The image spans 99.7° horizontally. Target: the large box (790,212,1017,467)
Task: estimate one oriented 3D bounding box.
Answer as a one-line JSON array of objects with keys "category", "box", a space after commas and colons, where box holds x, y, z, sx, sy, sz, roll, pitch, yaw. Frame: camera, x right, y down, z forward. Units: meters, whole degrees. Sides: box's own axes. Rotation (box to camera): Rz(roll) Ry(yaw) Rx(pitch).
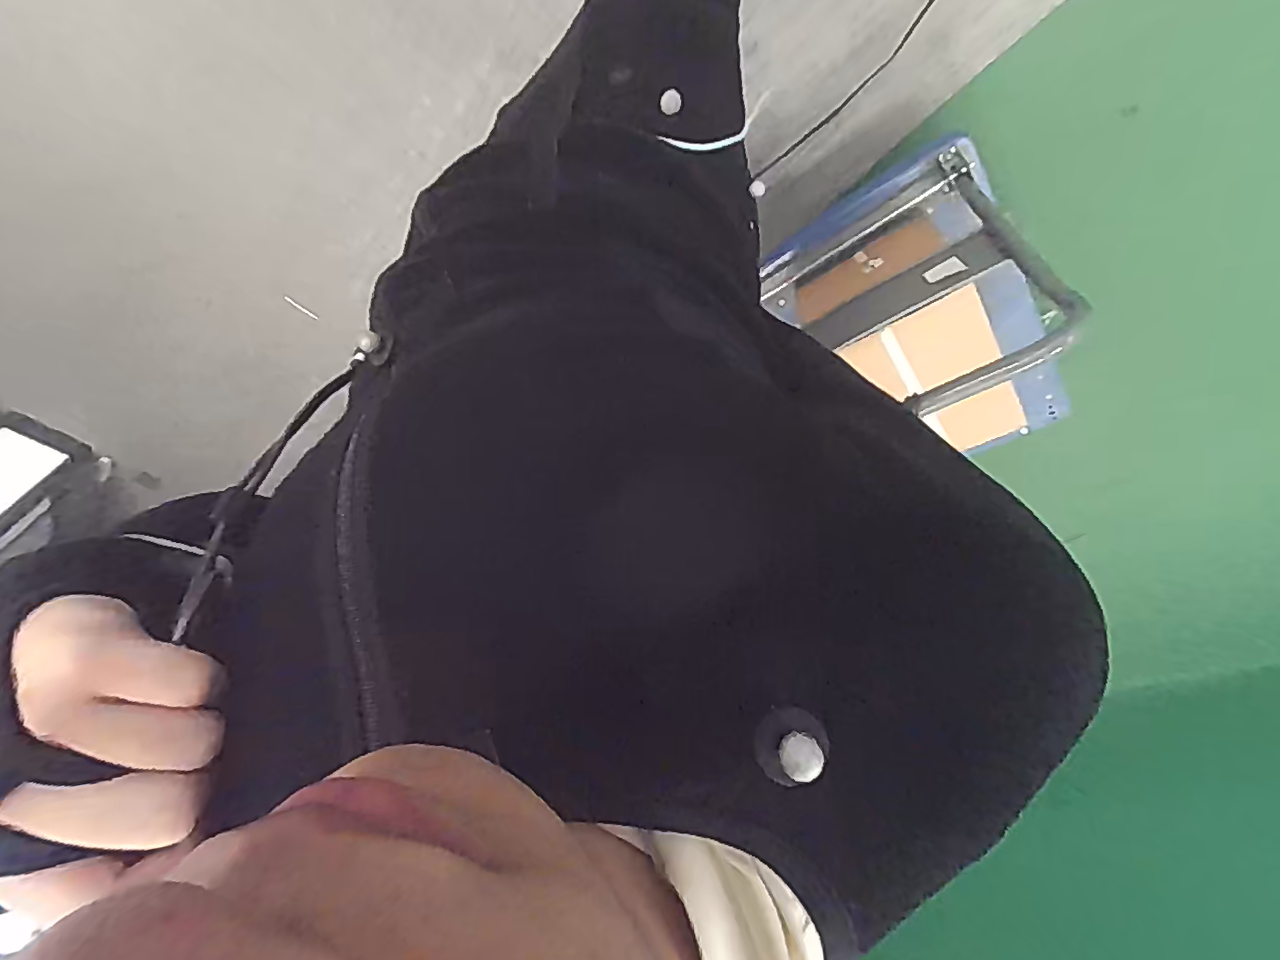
[{"category": "large box", "box": [0.588, -0.307, 1.239, 0.320, 0.320, 0.408, -24, 129, 31]}]
